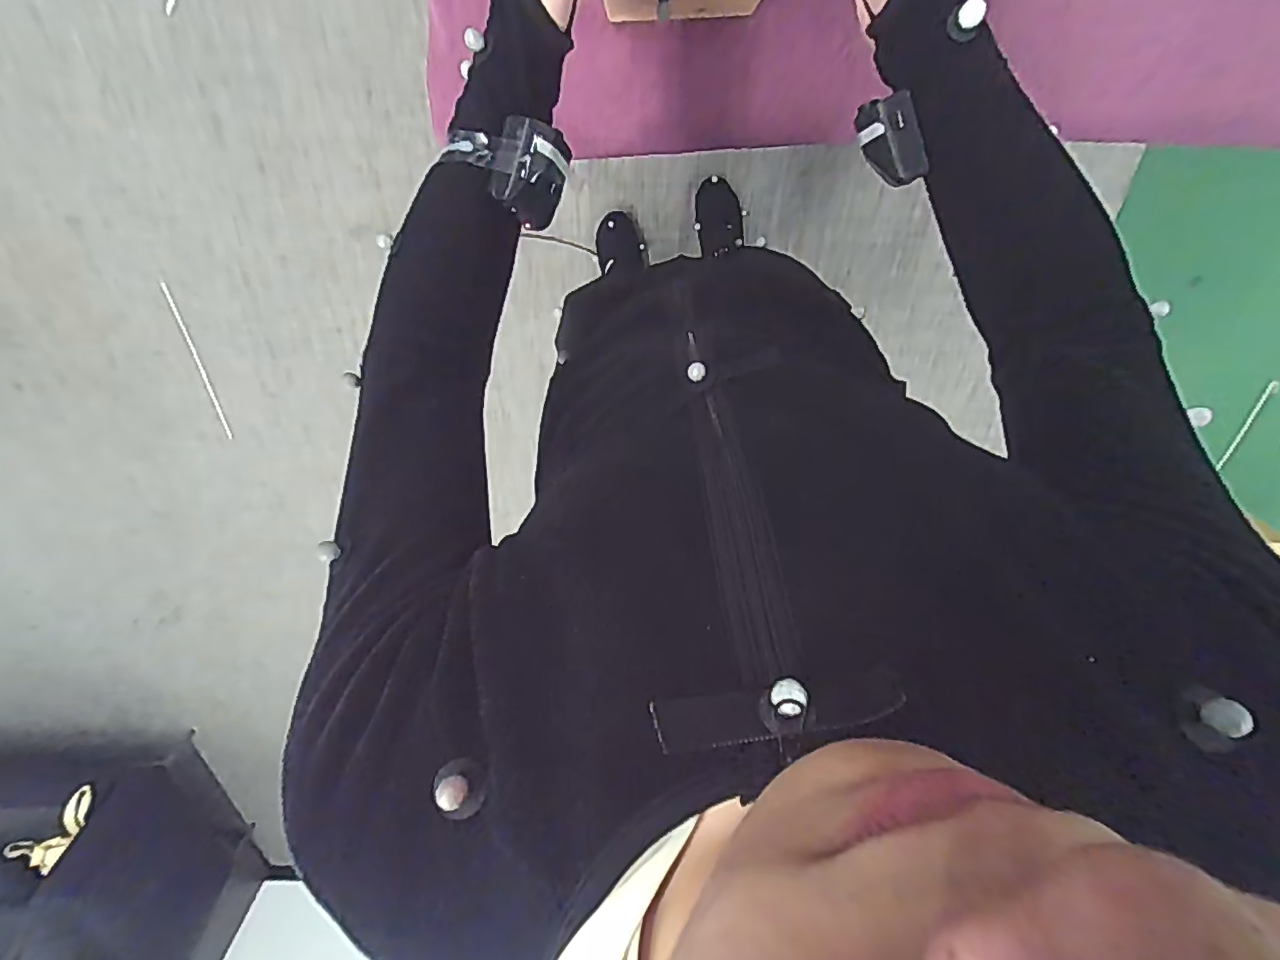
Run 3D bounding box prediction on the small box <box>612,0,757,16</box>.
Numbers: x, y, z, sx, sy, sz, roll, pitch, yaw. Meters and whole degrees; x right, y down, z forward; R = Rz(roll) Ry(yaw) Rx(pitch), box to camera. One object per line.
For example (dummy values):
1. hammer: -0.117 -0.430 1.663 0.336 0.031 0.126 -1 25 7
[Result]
1. small box: 0.046 -0.564 0.509 0.168 0.176 0.179 -1 120 2
